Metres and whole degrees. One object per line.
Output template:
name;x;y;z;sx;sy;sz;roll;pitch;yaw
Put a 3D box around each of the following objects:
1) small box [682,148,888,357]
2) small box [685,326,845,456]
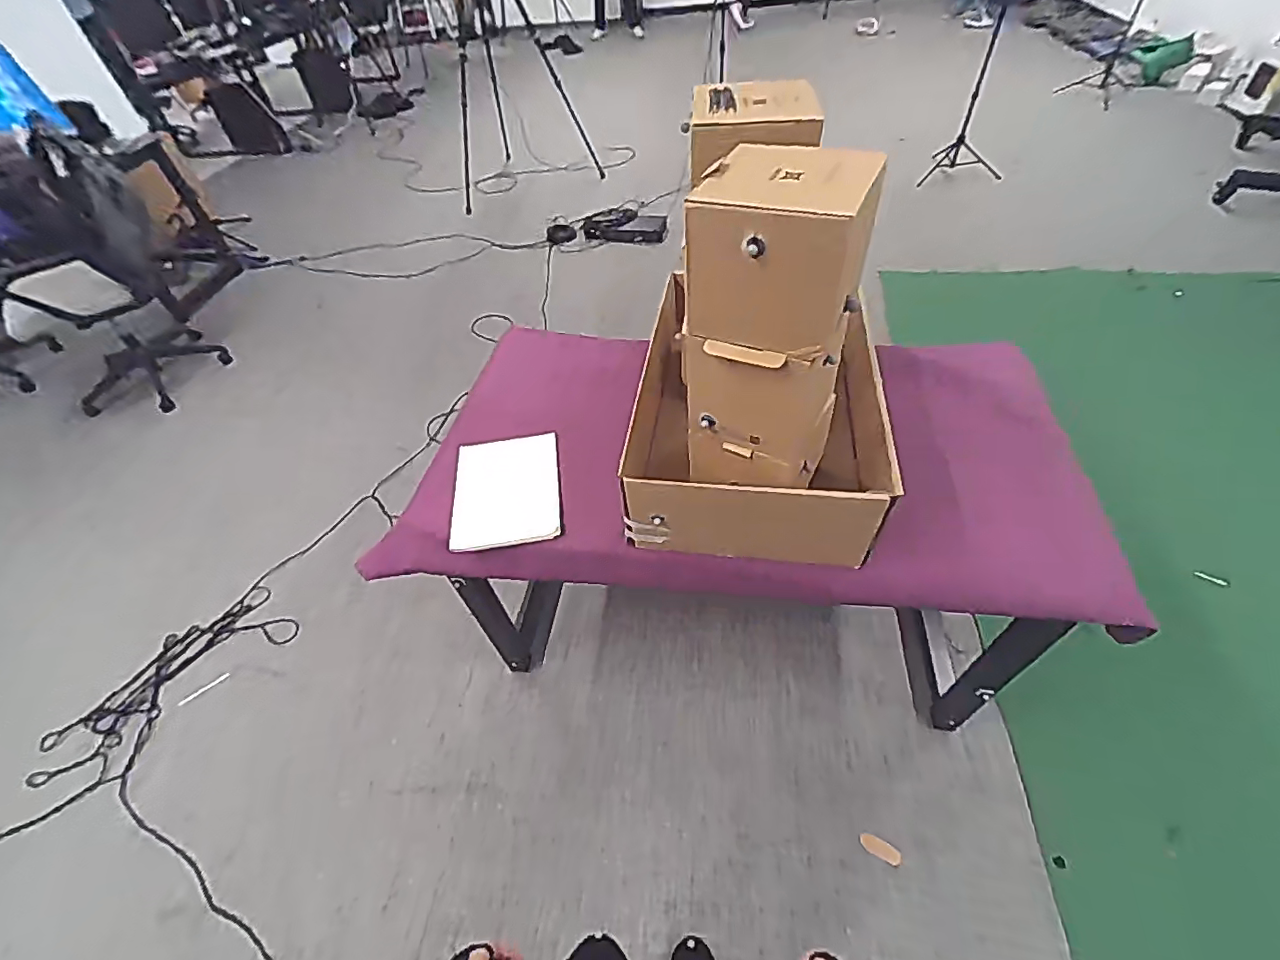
small box;0.164;-0.265;0.632;0.179;0.176;0.168;18;53;22
small box;0.178;-0.160;0.756;0.168;0.176;0.179;20;53;24
